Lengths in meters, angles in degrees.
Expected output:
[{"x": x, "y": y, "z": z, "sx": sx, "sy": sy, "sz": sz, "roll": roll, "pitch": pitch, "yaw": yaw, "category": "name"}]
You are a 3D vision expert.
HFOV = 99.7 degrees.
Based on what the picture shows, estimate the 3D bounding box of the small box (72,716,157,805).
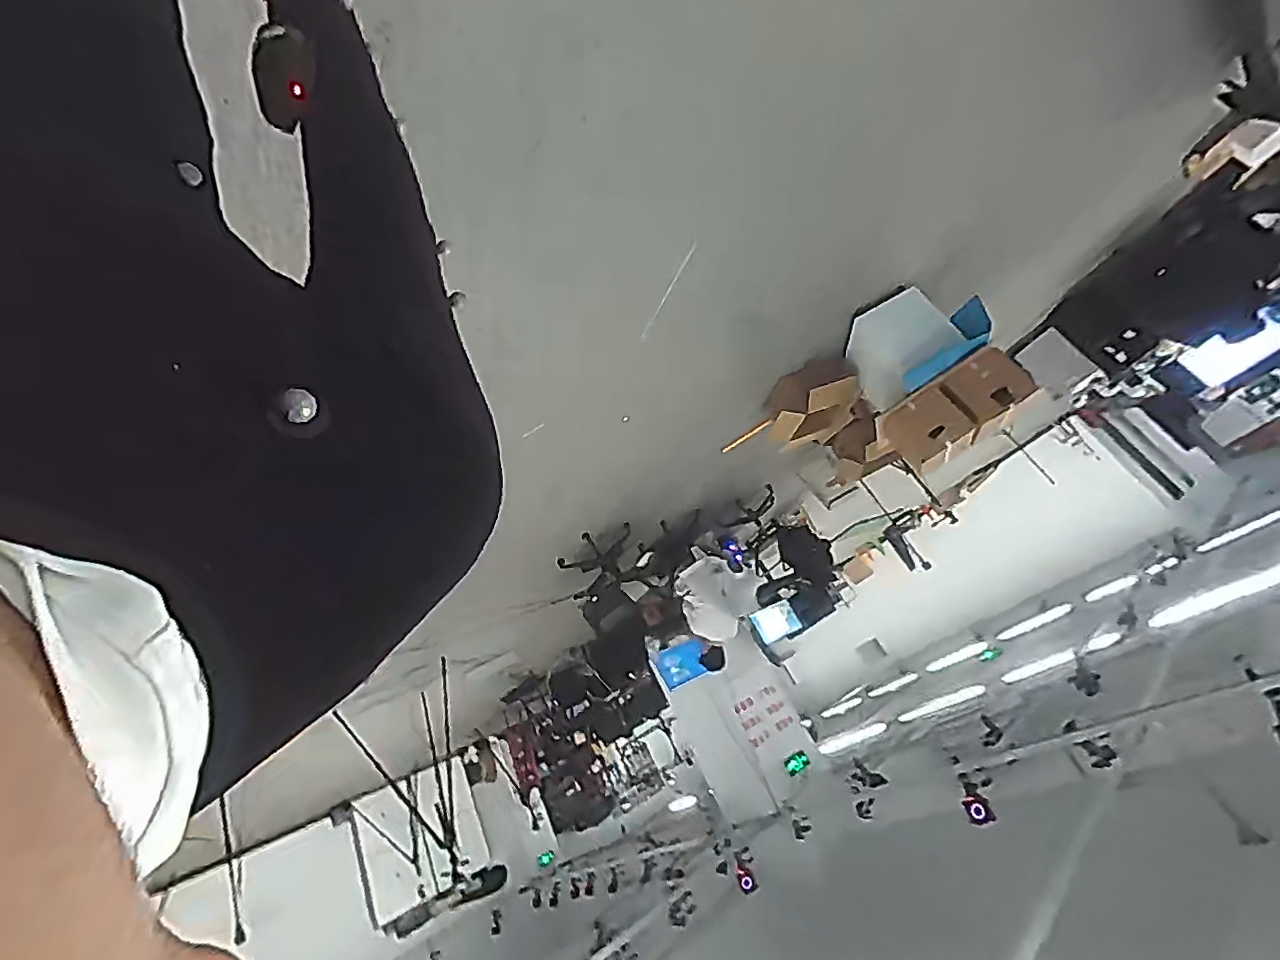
[{"x": -1.574, "y": 0.837, "z": 1.625, "sx": 0.168, "sy": 0.176, "sz": 0.179, "roll": -8, "pitch": 148, "yaw": -40, "category": "small box"}]
